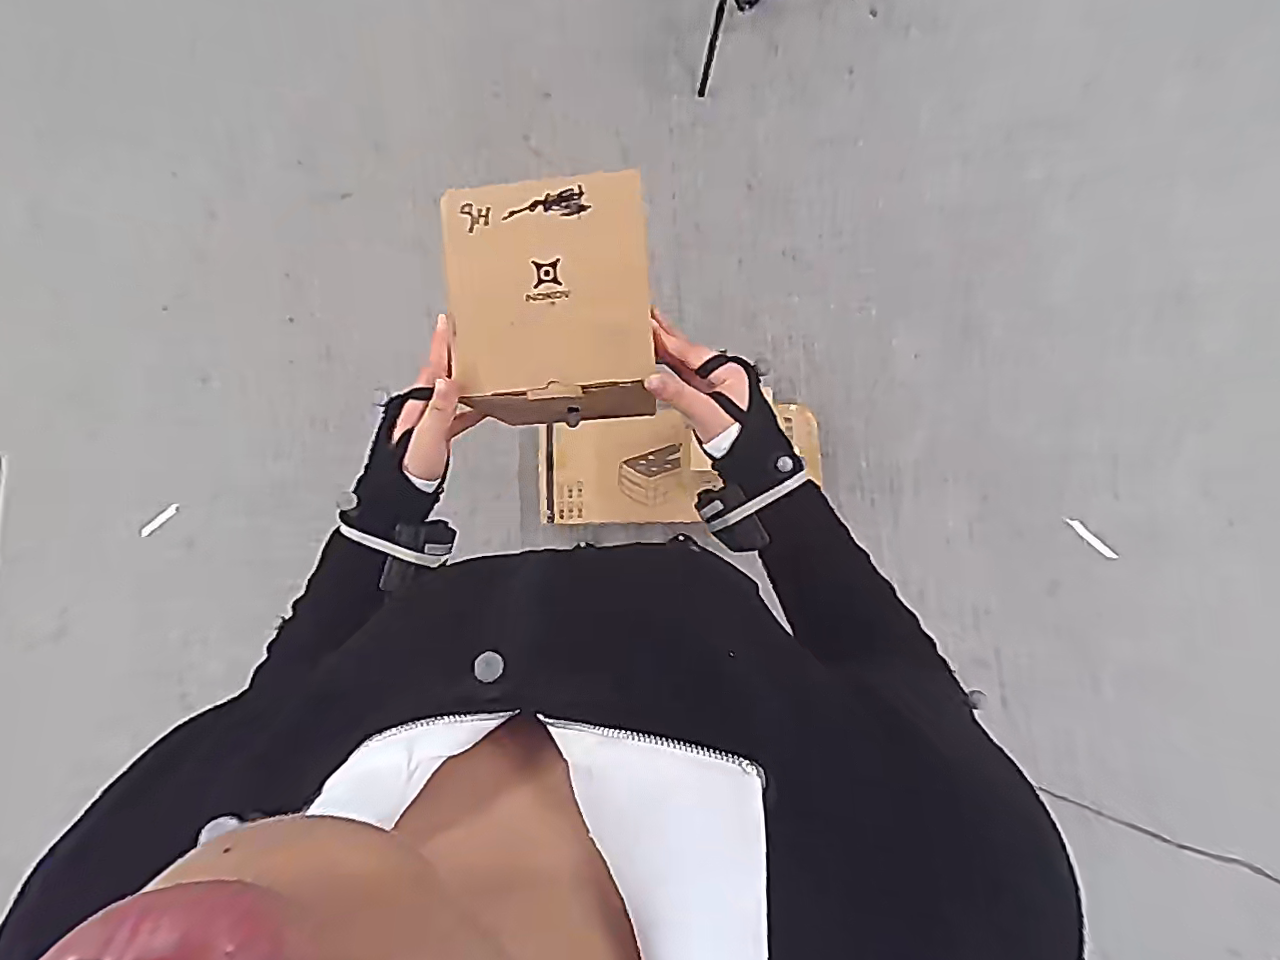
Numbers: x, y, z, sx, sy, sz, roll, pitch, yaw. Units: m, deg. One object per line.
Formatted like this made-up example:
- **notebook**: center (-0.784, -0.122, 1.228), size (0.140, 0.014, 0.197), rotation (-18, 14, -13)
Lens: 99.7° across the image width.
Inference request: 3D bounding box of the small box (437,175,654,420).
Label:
- **small box**: center (-0.075, -0.153, 0.517), size (0.168, 0.176, 0.179), rotation (-5, 89, 2)

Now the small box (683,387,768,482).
- **small box**: center (0.179, -0.094, 1.173), size (0.168, 0.176, 0.179), rotation (1, 84, 2)

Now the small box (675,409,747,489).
- **small box**: center (0.175, -0.074, 1.336), size (0.168, 0.176, 0.179), rotation (-3, 84, 2)
